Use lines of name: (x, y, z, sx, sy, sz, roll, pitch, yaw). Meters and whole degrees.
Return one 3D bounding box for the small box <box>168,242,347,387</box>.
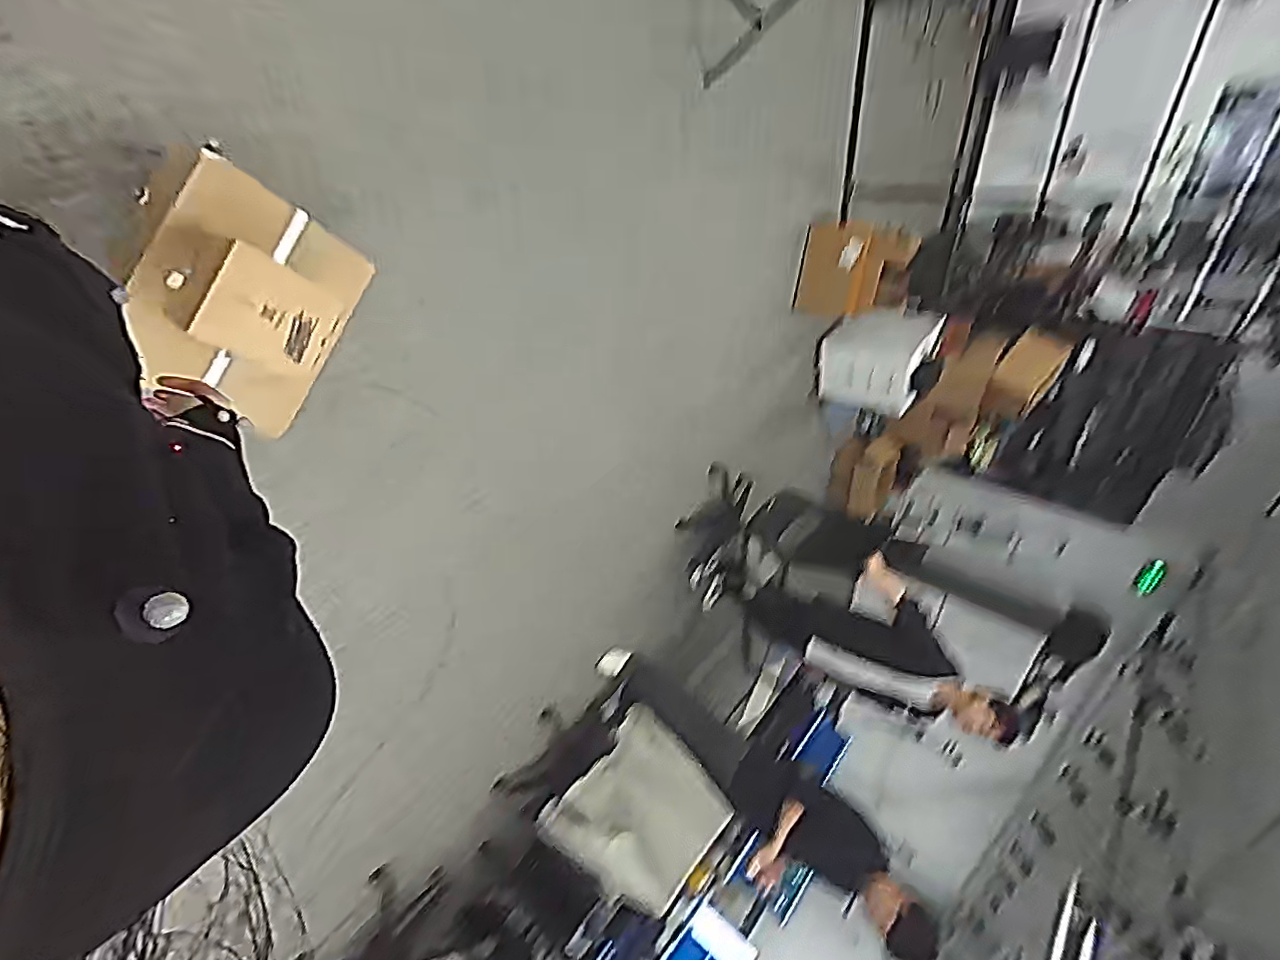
small box: (-0.649, -0.284, 0.919, 0.179, 0.176, 0.168, 30, 85, -53)
